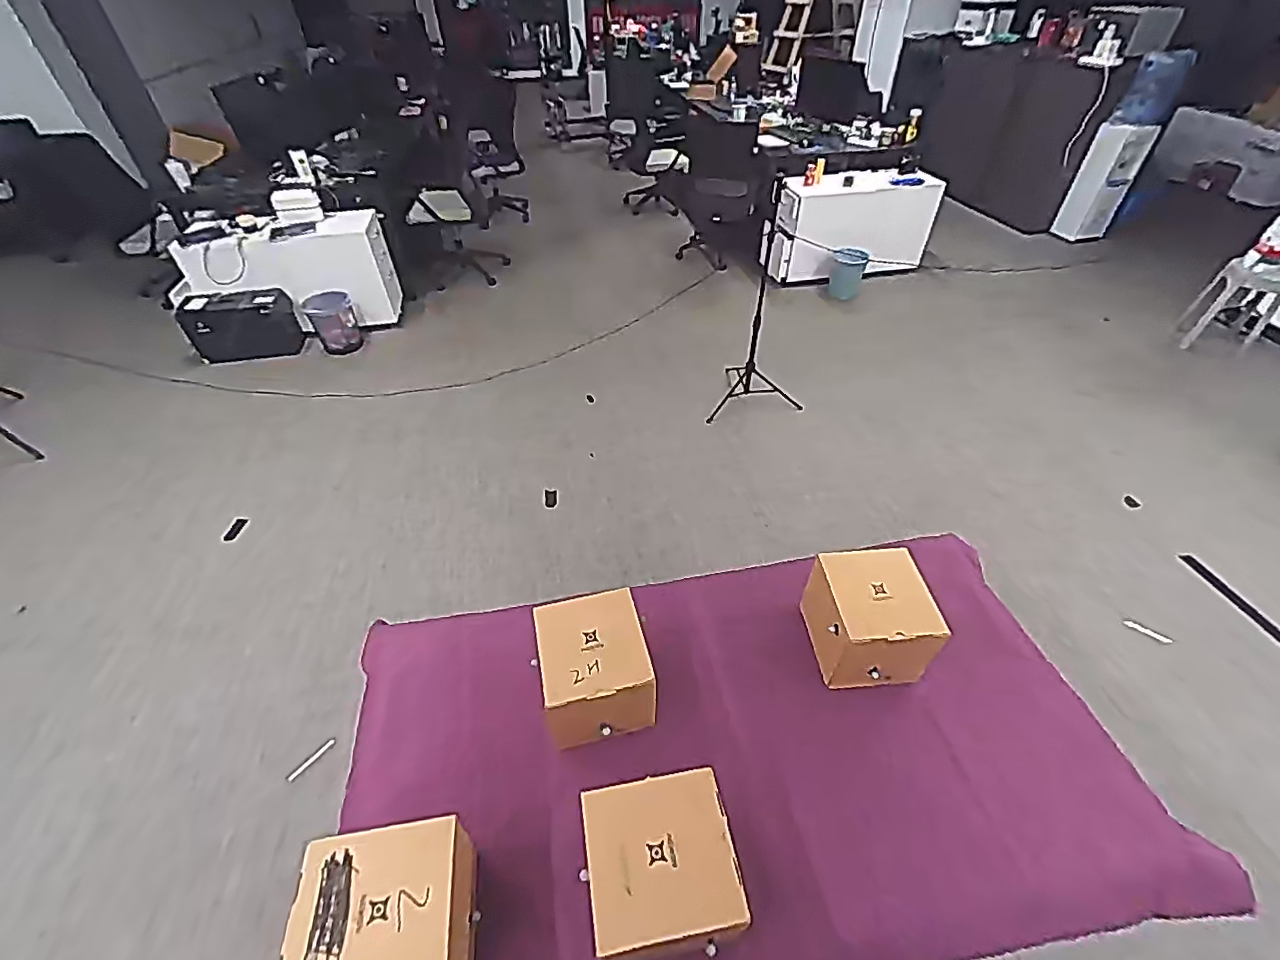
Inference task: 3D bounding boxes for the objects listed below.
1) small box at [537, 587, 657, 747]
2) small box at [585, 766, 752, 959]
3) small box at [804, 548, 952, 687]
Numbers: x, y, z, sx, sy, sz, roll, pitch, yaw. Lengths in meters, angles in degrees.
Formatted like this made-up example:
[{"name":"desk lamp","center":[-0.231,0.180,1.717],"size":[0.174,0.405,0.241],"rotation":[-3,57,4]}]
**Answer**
[{"name":"small box","center":[-0.073,0.310,0.901],"size":[0.168,0.176,0.179],"rotation":[-10,44,-9]},{"name":"small box","center":[0.026,0.496,0.697],"size":[0.179,0.176,0.168],"rotation":[-7,43,-7]},{"name":"small box","center":[0.406,0.244,0.962],"size":[0.168,0.176,0.179],"rotation":[-4,45,-2]}]
